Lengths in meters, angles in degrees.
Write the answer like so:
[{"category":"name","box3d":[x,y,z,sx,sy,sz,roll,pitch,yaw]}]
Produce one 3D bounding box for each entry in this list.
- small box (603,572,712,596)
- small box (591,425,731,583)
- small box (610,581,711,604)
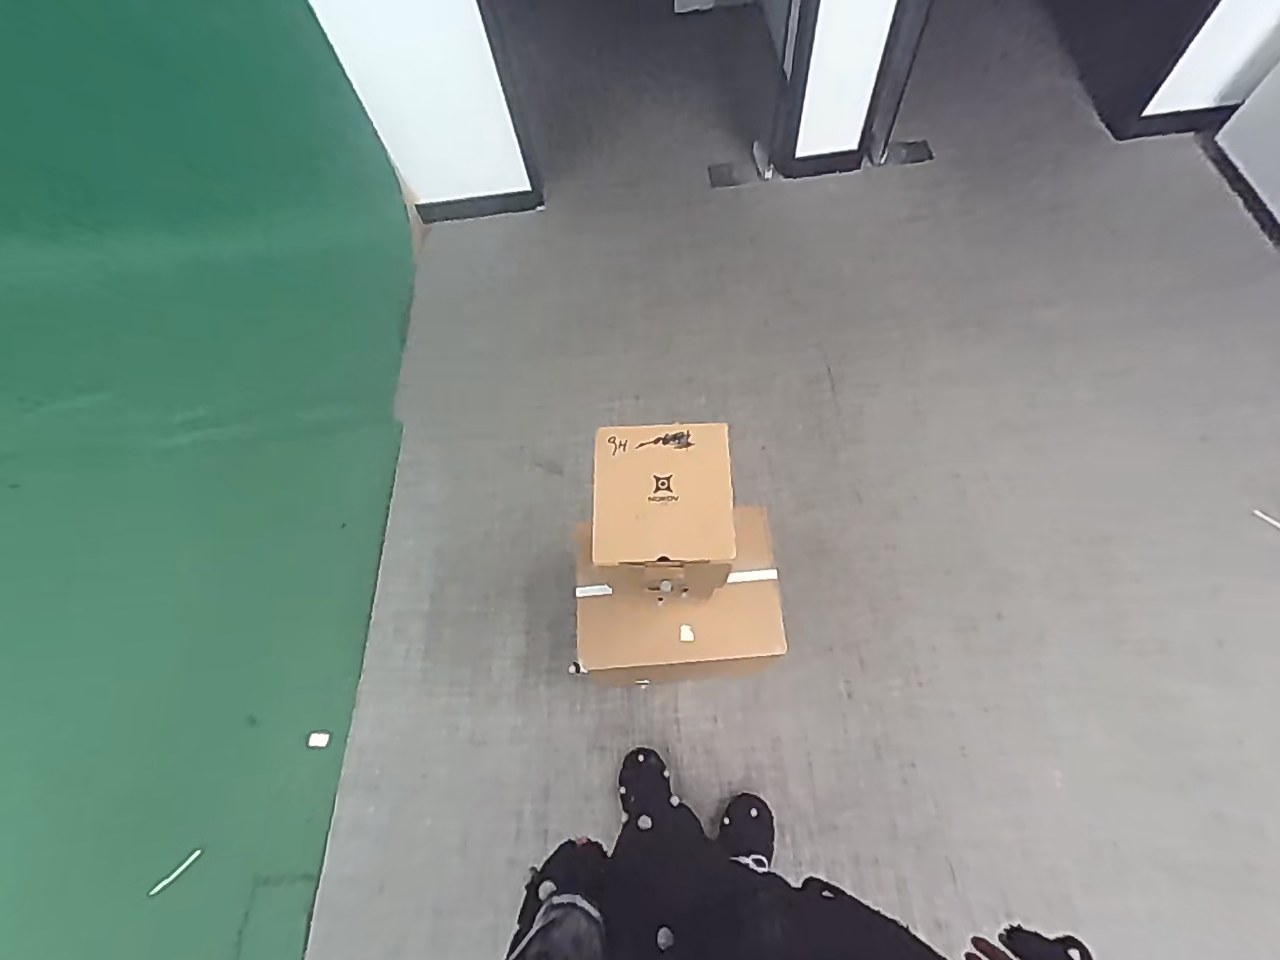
[{"category":"small box","box3d":[0.037,0.088,0.879,0.168,0.176,0.179,1,68,4]},{"category":"small box","box3d":[0.031,0.041,0.721,0.168,0.176,0.179,-1,70,4]},{"category":"small box","box3d":[0.044,0.140,1.029,0.179,0.176,0.168,1,68,6]}]
